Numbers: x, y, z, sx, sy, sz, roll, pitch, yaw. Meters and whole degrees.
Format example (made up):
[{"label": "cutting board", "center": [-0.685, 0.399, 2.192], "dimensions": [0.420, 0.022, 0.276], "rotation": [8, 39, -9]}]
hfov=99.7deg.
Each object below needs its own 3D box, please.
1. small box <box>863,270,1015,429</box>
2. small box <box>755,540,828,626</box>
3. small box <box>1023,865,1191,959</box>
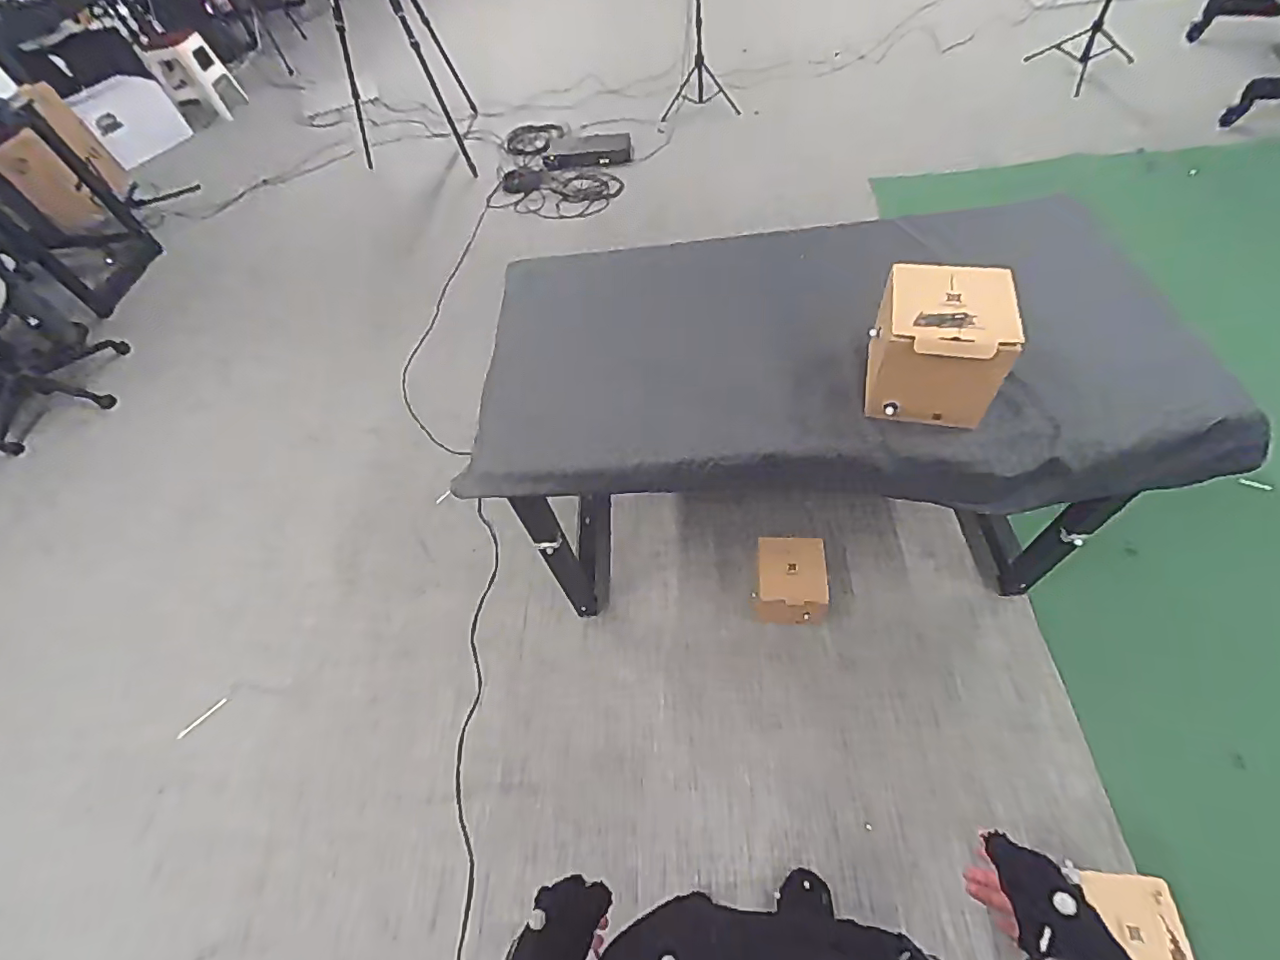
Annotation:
[{"label": "small box", "center": [0.454, -0.201, 0.844], "dimensions": [0.168, 0.176, 0.179], "rotation": [9, 56, 15]}, {"label": "small box", "center": [0.391, 0.273, 1.420], "dimensions": [0.168, 0.176, 0.179], "rotation": [0, 54, 8]}, {"label": "small box", "center": [0.835, 0.811, 0.982], "dimensions": [0.179, 0.176, 0.168], "rotation": [0, 56, 10]}]
